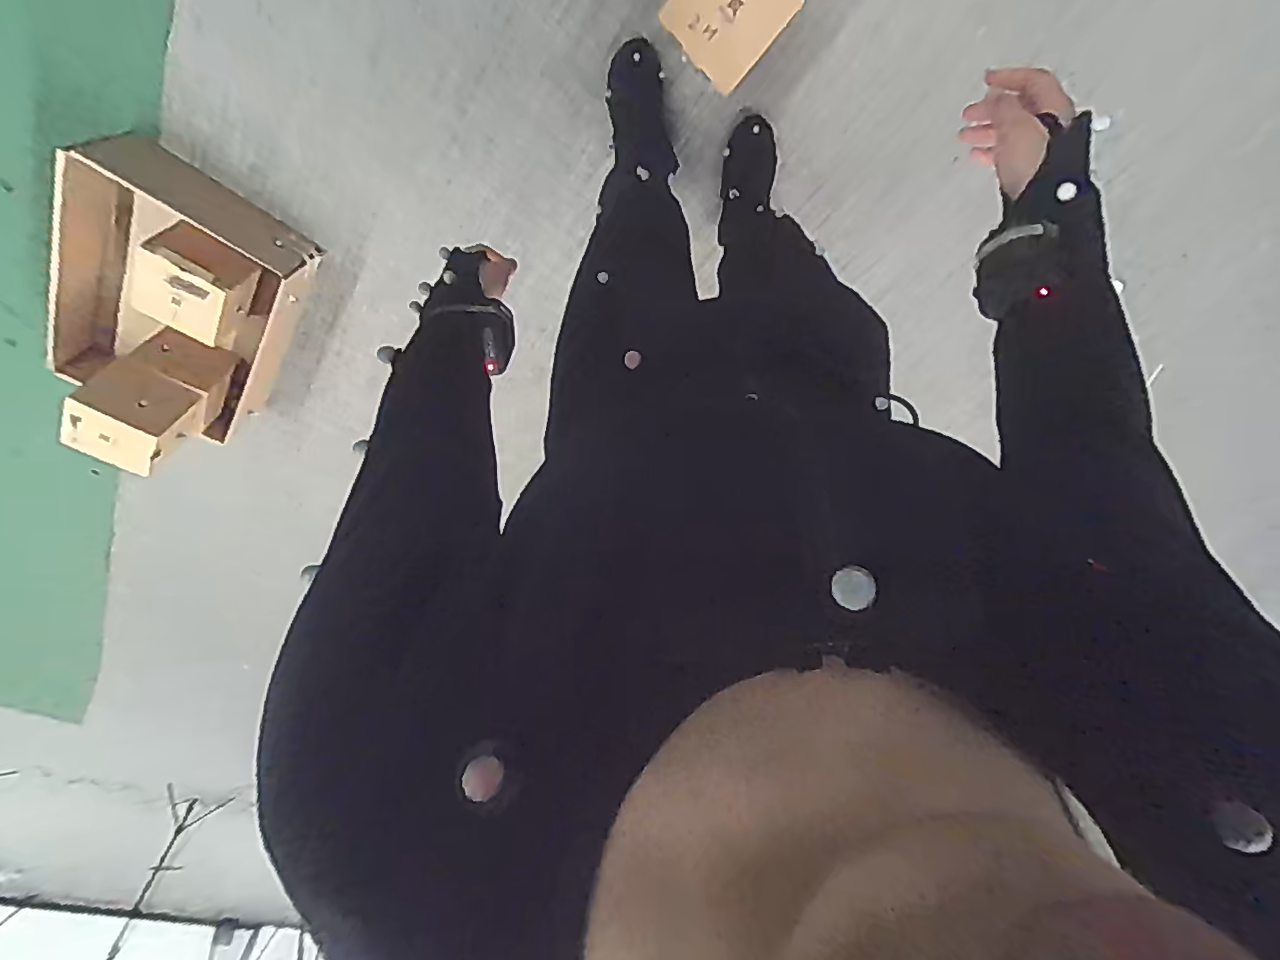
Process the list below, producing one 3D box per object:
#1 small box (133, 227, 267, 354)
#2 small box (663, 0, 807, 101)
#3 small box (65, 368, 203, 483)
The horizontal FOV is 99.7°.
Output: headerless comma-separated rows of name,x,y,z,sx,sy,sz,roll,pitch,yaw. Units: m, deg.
small box,-0.978,-0.428,1.213,0.168,0.176,0.179,30,127,-25
small box,0.151,-0.803,0.925,0.168,0.176,0.179,34,125,-26
small box,-1.178,-0.130,1.269,0.179,0.176,0.168,31,126,-26
